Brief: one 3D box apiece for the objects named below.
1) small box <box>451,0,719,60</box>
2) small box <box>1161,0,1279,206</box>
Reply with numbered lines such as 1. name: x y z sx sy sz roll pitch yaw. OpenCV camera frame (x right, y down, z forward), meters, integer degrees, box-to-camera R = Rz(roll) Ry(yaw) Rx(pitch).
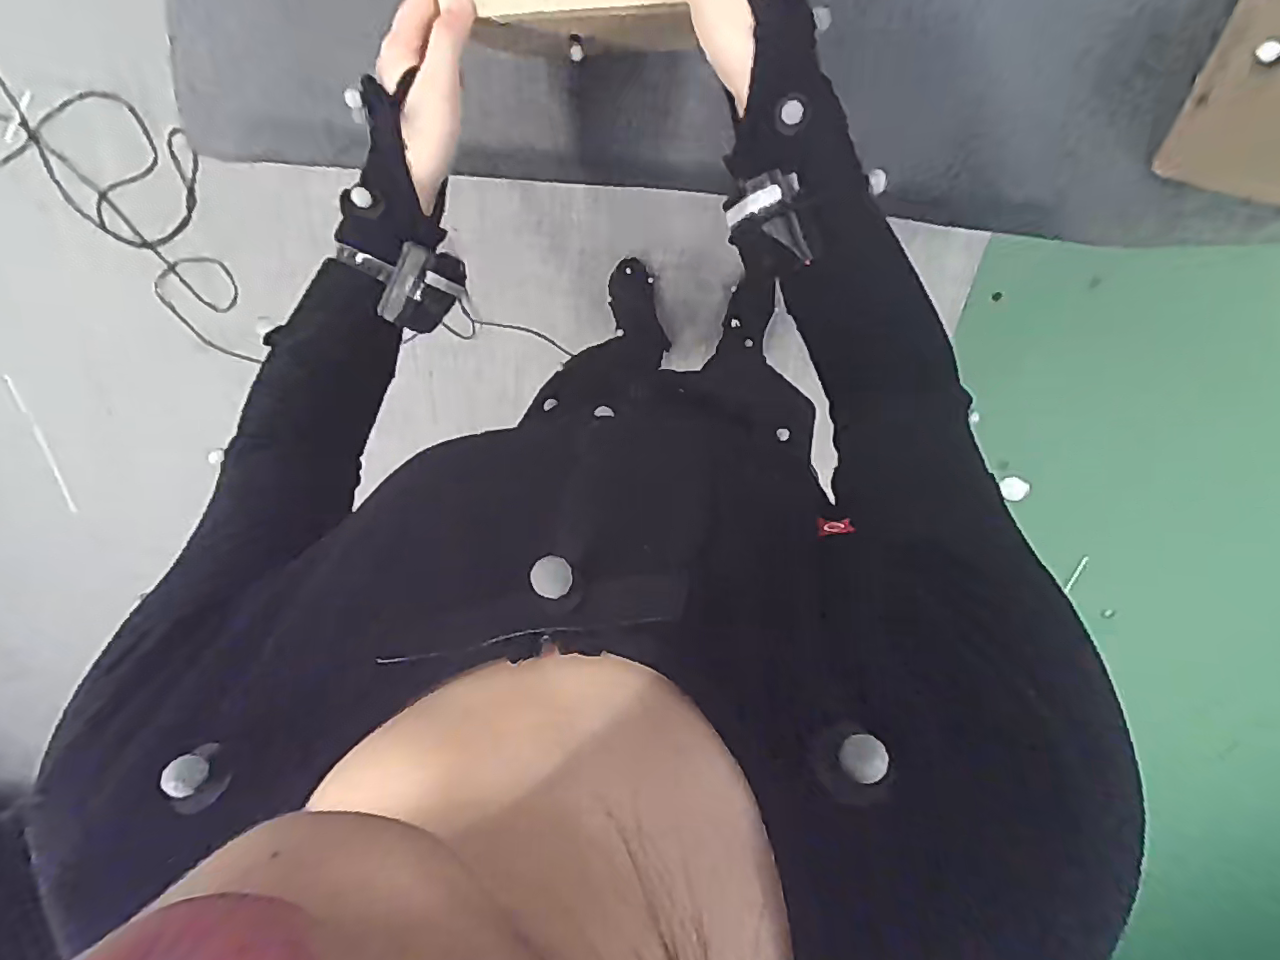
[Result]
1. small box: -0.034 -0.411 0.380 0.179 0.176 0.168 1 122 4
2. small box: 0.615 -0.333 0.449 0.179 0.176 0.168 12 115 -3
